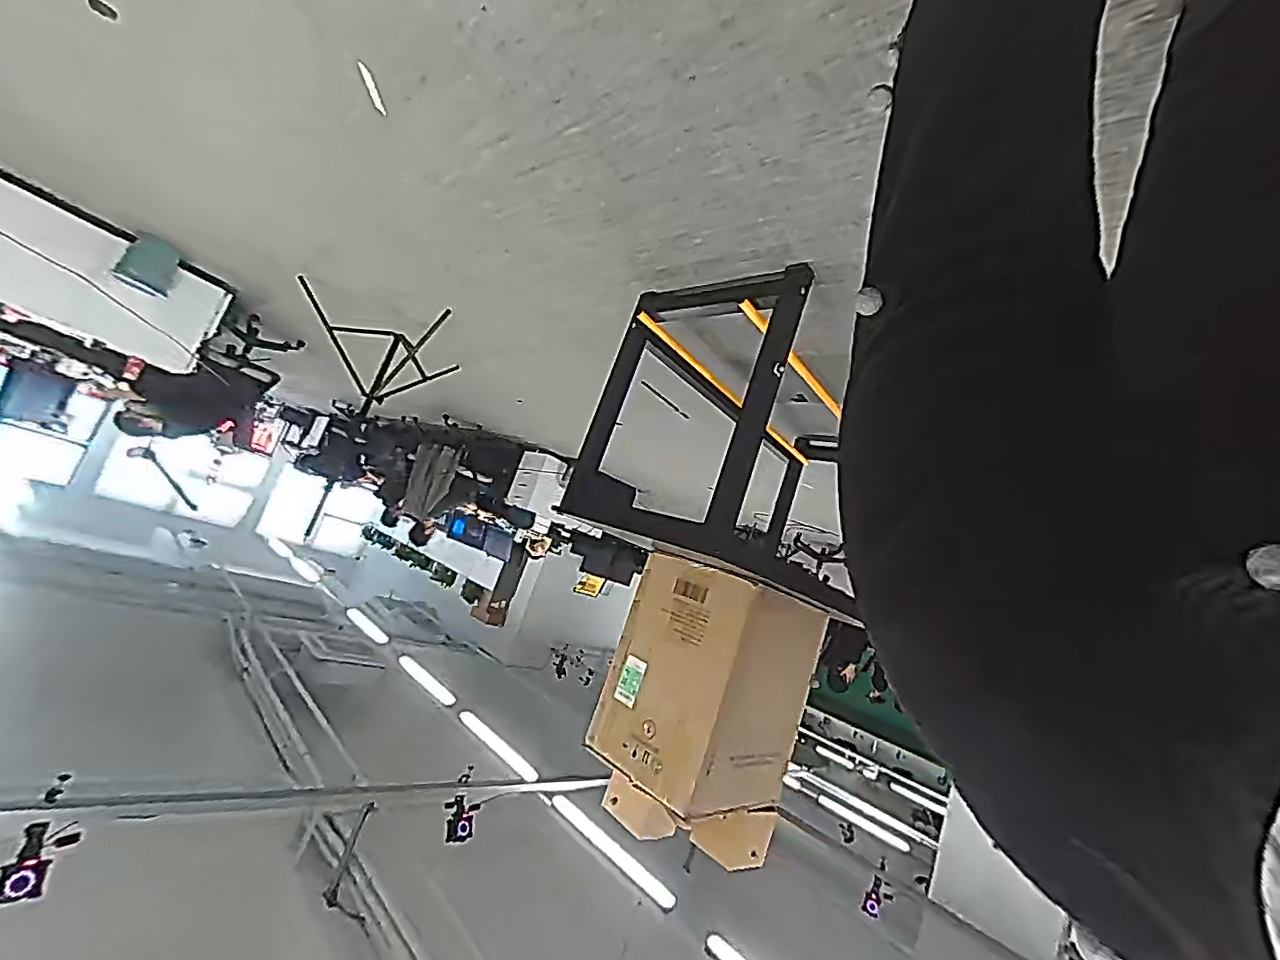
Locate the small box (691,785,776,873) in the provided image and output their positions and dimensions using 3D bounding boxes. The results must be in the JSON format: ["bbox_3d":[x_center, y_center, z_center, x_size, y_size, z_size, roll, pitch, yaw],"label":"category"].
[{"bbox_3d":[0.291,1.058,1.654,0.168,0.176,0.179,8,162,47],"label":"small box"}]

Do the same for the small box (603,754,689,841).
[{"bbox_3d":[0.022,0.962,1.657,0.179,0.176,0.168,12,169,47],"label":"small box"}]
